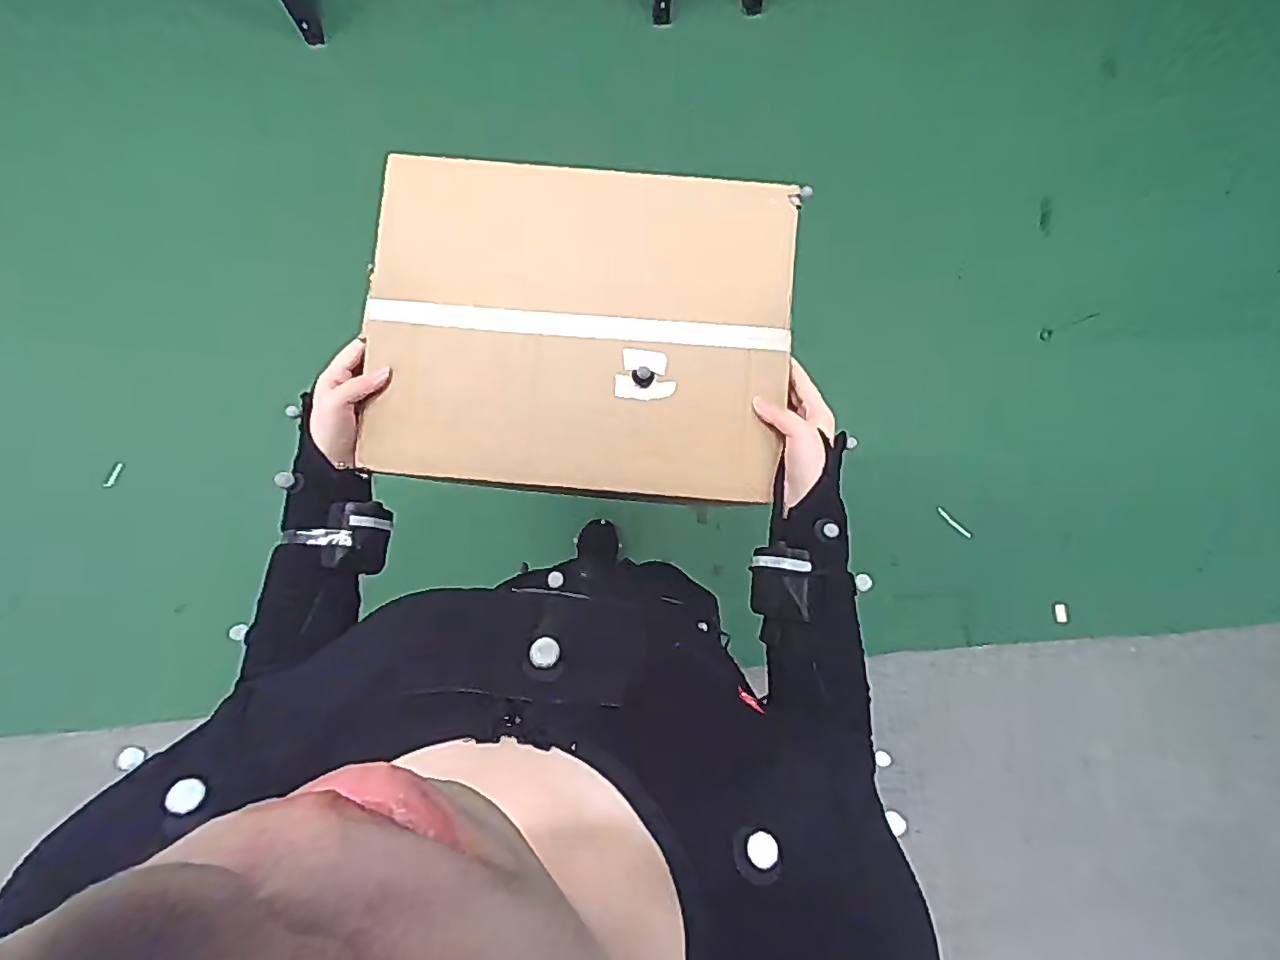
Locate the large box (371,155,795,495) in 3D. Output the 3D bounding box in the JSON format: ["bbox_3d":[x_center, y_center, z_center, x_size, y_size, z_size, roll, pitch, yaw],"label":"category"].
[{"bbox_3d":[-0.056,-0.150,0.676,0.408,0.320,0.320,4,87,-1],"label":"large box"}]
